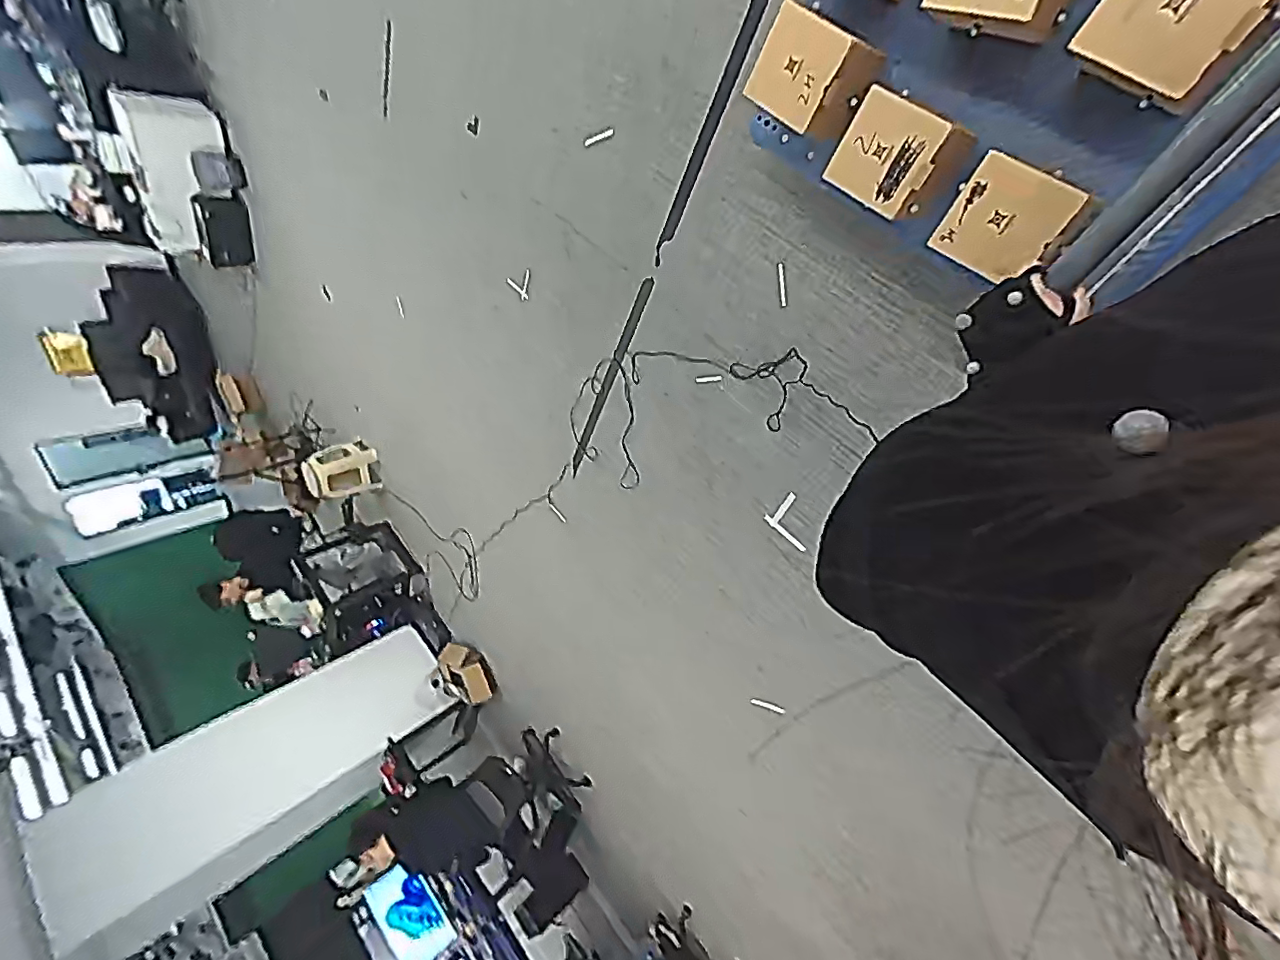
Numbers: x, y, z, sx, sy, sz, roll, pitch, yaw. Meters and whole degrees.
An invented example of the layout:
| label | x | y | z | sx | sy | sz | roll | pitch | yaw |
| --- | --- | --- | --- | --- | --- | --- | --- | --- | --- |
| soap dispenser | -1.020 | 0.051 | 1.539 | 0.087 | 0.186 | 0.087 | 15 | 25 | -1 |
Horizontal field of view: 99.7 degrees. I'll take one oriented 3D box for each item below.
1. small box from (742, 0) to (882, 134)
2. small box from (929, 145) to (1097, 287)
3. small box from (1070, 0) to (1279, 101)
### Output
| label | x | y | z | sx | sy | sz | roll | pitch | yaw |
| --- | --- | --- | --- | --- | --- | --- | --- | --- | --- |
| small box | 0.350 | -0.832 | 1.098 | 0.179 | 0.176 | 0.168 | 47 | 135 | 17 |
| small box | 0.665 | -0.469 | 0.964 | 0.179 | 0.176 | 0.168 | 43 | 133 | 21 |
| small box | 0.769 | -0.669 | 0.767 | 0.179 | 0.176 | 0.168 | 47 | 135 | 19 |
